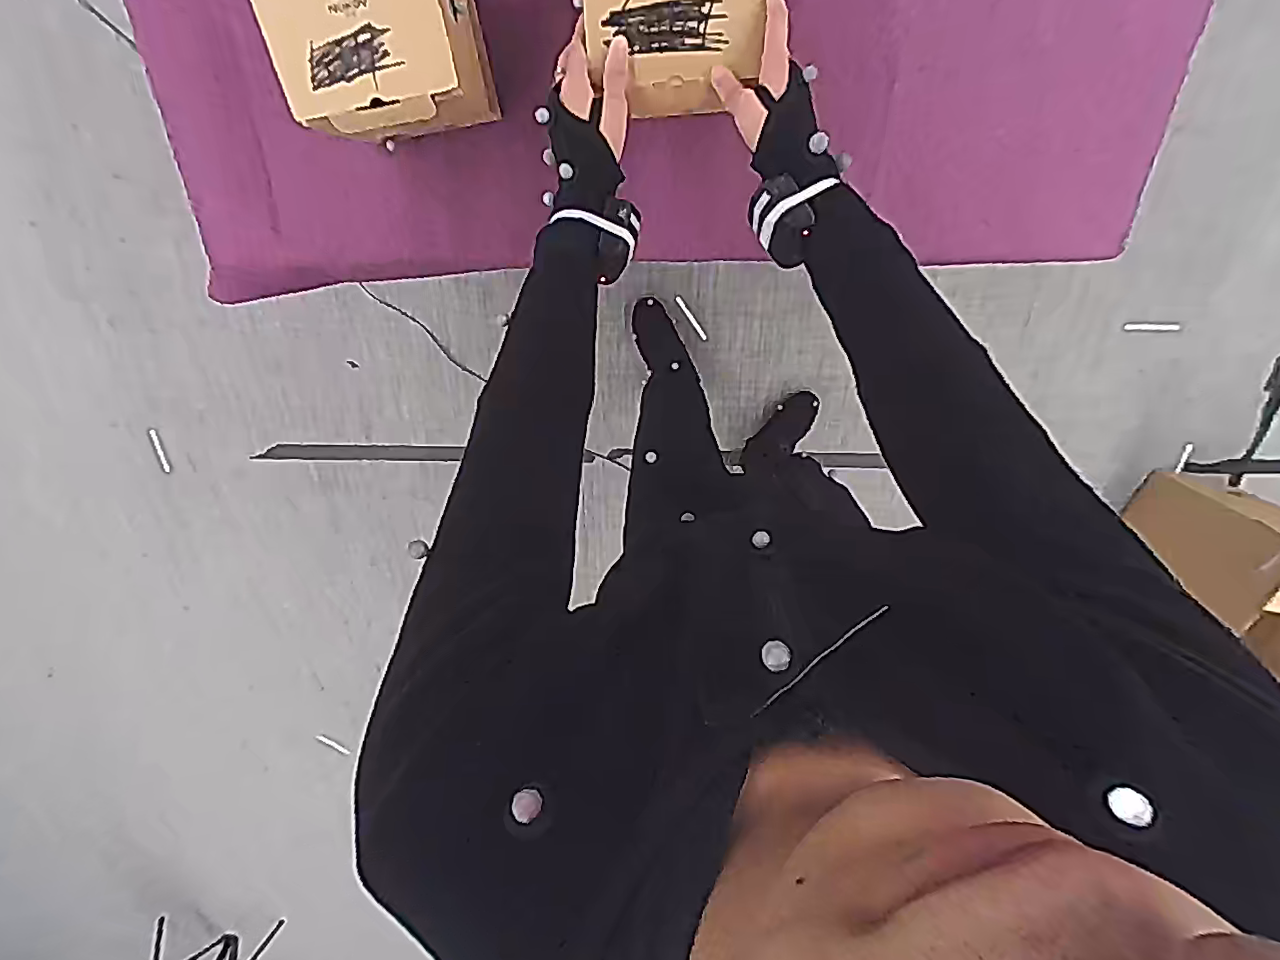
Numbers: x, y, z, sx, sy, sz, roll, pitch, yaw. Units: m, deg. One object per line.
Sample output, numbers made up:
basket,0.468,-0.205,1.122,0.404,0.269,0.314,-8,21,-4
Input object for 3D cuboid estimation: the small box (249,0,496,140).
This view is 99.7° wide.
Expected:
small box,-0.259,-0.458,0.541,0.168,0.176,0.179,-9,115,3
